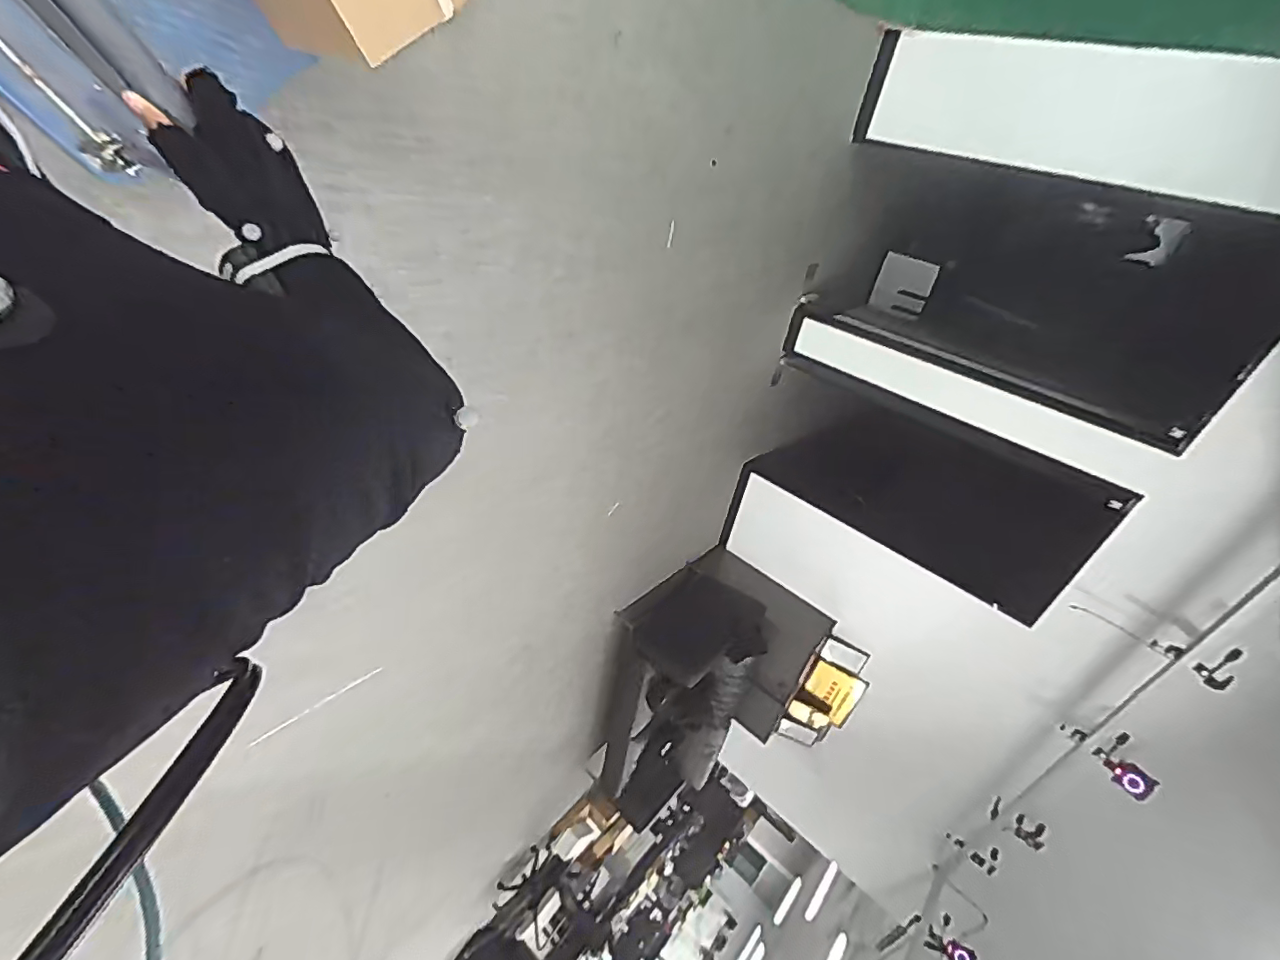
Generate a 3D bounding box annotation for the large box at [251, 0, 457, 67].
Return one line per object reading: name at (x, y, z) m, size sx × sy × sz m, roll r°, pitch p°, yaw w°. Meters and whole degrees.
large box at (-0.470, -0.885, 0.747) m, size 0.320 × 0.320 × 0.408 m, roll -49°, pitch 149°, yaw -14°
